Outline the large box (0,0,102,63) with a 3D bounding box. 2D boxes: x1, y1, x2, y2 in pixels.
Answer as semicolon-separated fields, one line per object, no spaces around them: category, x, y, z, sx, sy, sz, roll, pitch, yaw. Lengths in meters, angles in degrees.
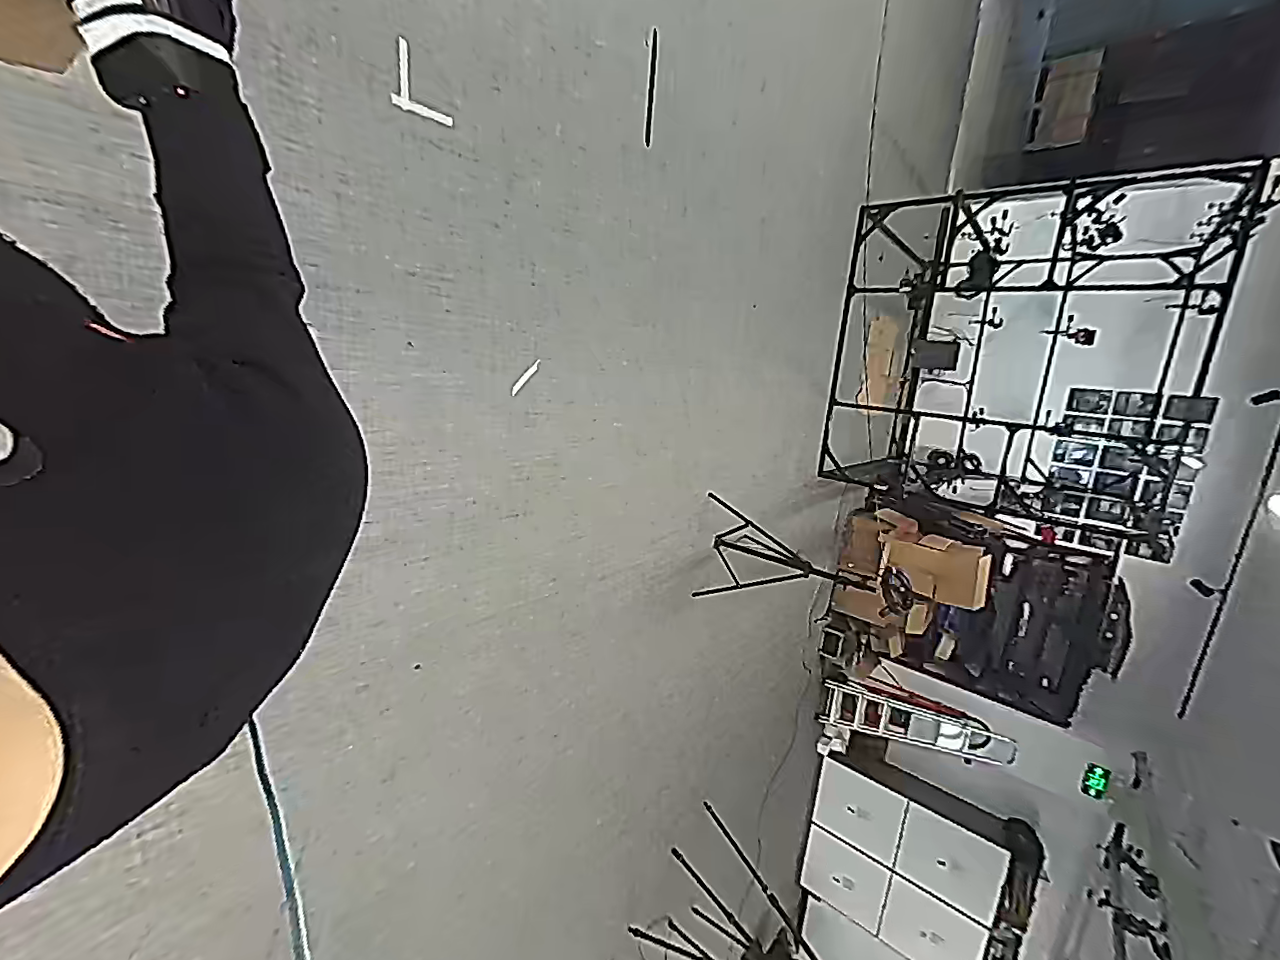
large box;-0.579;-0.465;0.251;0.408;0.320;0.320;-20;122;-48
